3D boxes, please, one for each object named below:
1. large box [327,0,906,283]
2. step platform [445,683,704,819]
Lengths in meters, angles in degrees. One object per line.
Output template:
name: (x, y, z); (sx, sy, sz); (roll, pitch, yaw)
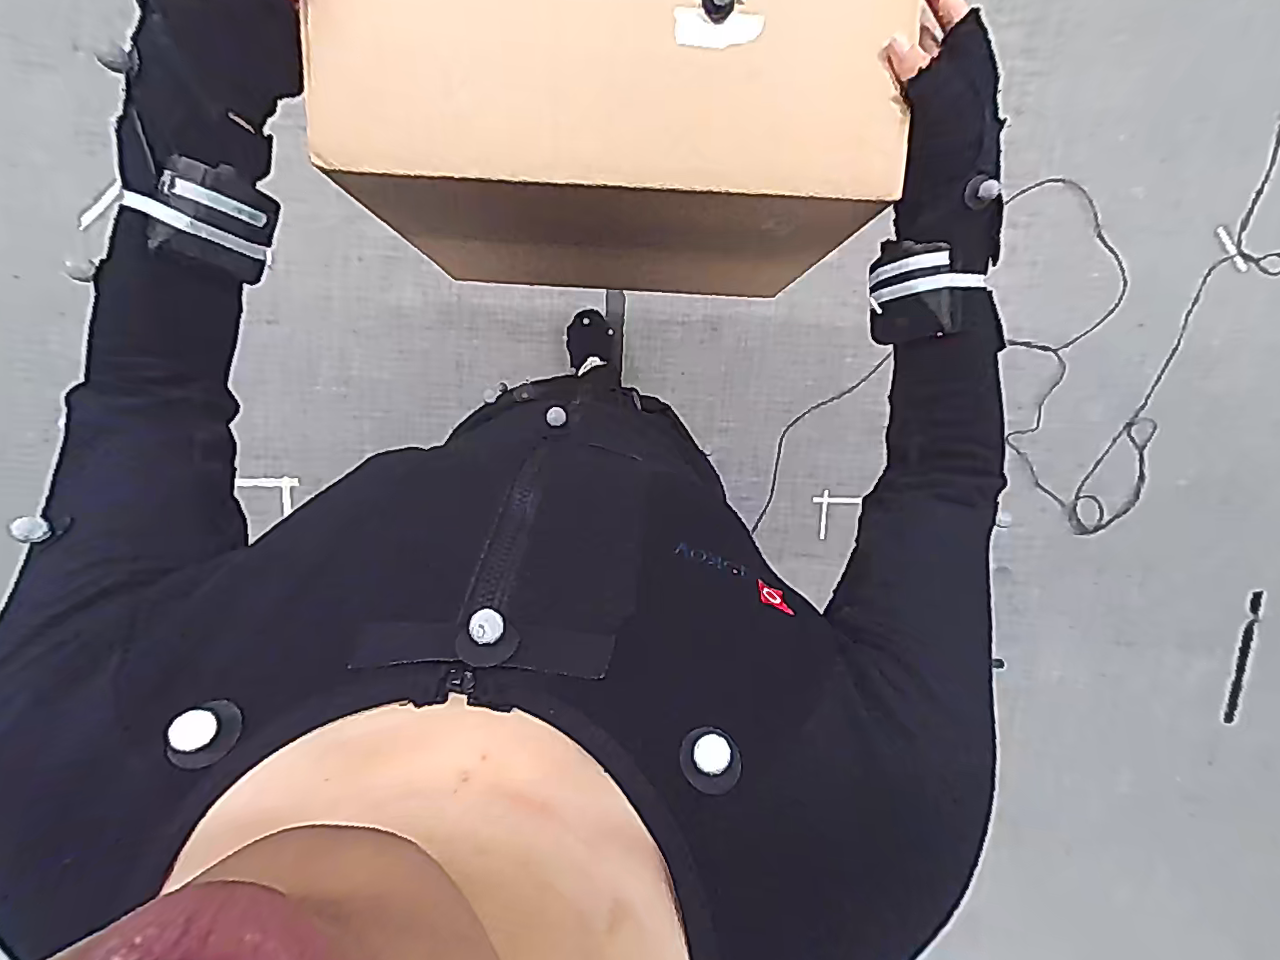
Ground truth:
large box: (-0.018, -0.387, 0.513); (0.408, 0.320, 0.320); (2, 97, -3)
step platform: (-0.169, 0.731, 1.469); (0.684, 0.204, 0.286); (0, 97, 0)
